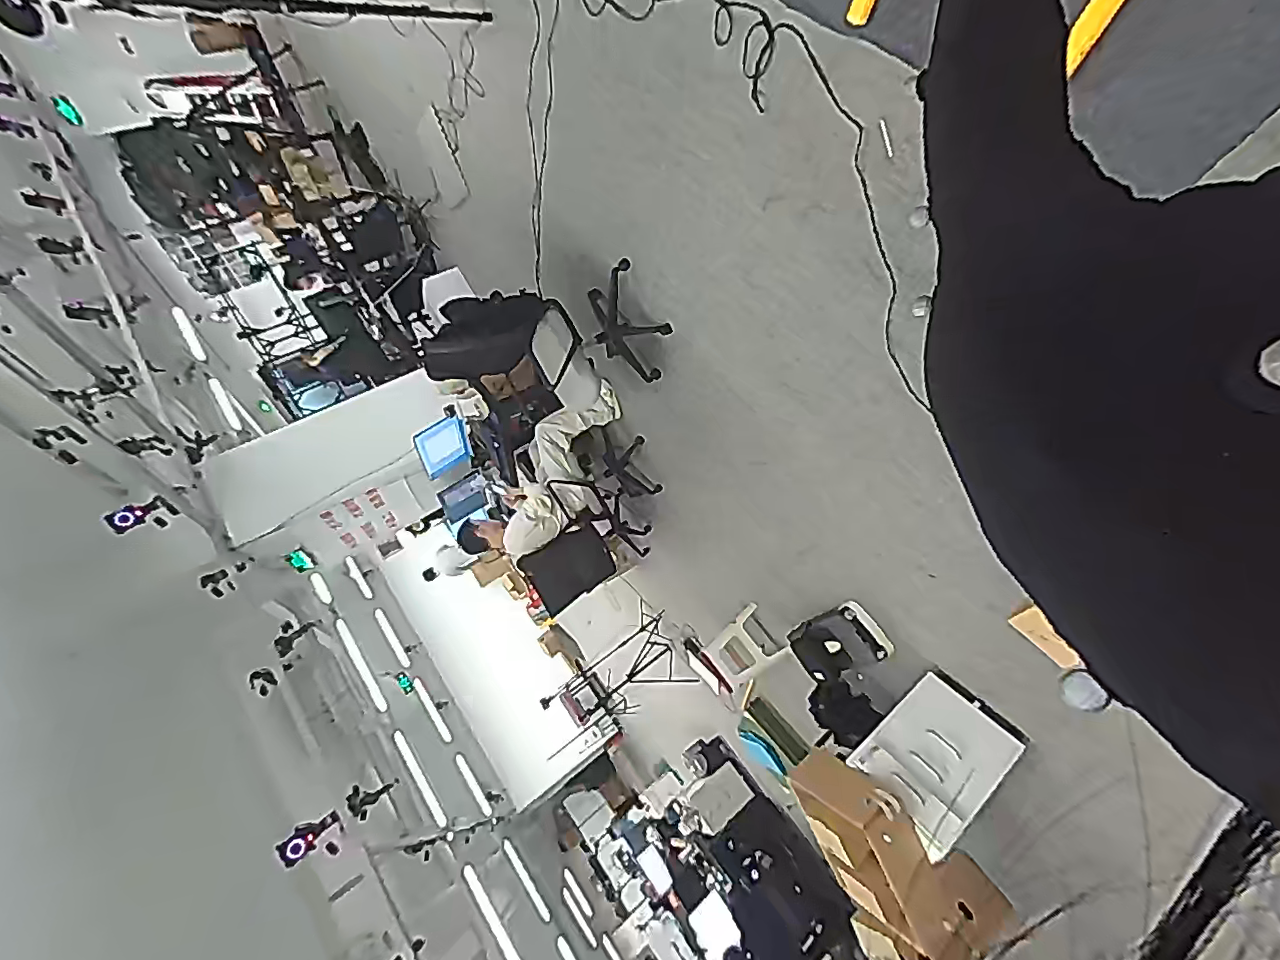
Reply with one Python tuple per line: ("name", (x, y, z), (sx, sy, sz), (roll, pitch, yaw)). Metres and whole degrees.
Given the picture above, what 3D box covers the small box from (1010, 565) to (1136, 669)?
("small box", (1.115, 0.349, 1.390), (0.168, 0.176, 0.179), (47, 155, 24))
